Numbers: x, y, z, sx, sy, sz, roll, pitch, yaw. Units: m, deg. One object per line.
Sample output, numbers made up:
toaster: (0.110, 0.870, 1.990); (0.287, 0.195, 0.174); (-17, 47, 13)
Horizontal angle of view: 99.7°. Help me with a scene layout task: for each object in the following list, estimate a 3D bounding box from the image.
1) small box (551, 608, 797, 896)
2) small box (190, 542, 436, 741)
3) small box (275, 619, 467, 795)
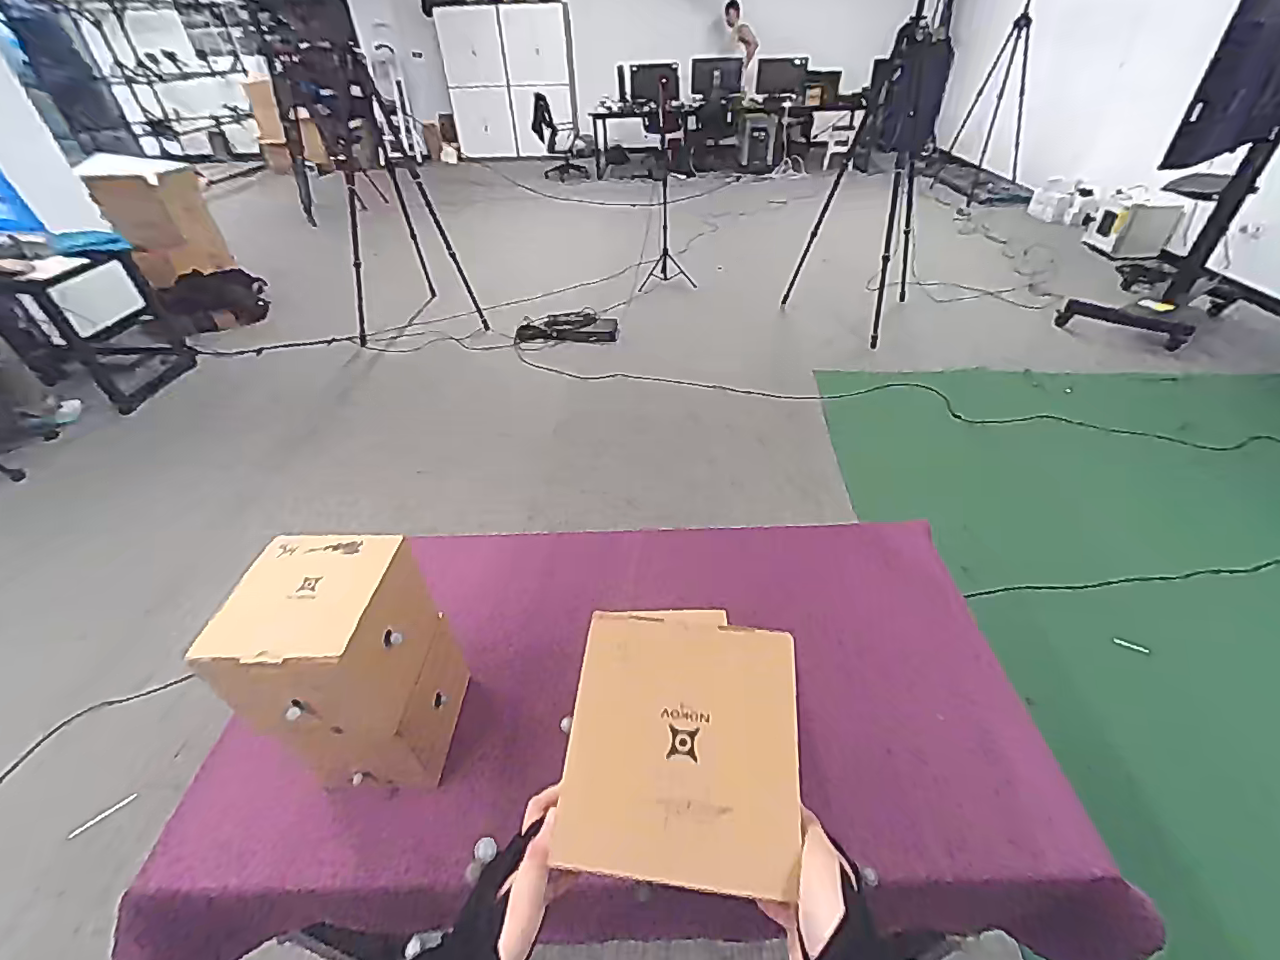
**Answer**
small box: (0.032, 0.232, 0.464); (0.168, 0.176, 0.179); (5, 55, 5)
small box: (-0.369, 0.195, 0.656); (0.168, 0.176, 0.179); (0, 40, 2)
small box: (-0.359, 0.317, 0.766); (0.168, 0.176, 0.179); (-1, 40, 2)
